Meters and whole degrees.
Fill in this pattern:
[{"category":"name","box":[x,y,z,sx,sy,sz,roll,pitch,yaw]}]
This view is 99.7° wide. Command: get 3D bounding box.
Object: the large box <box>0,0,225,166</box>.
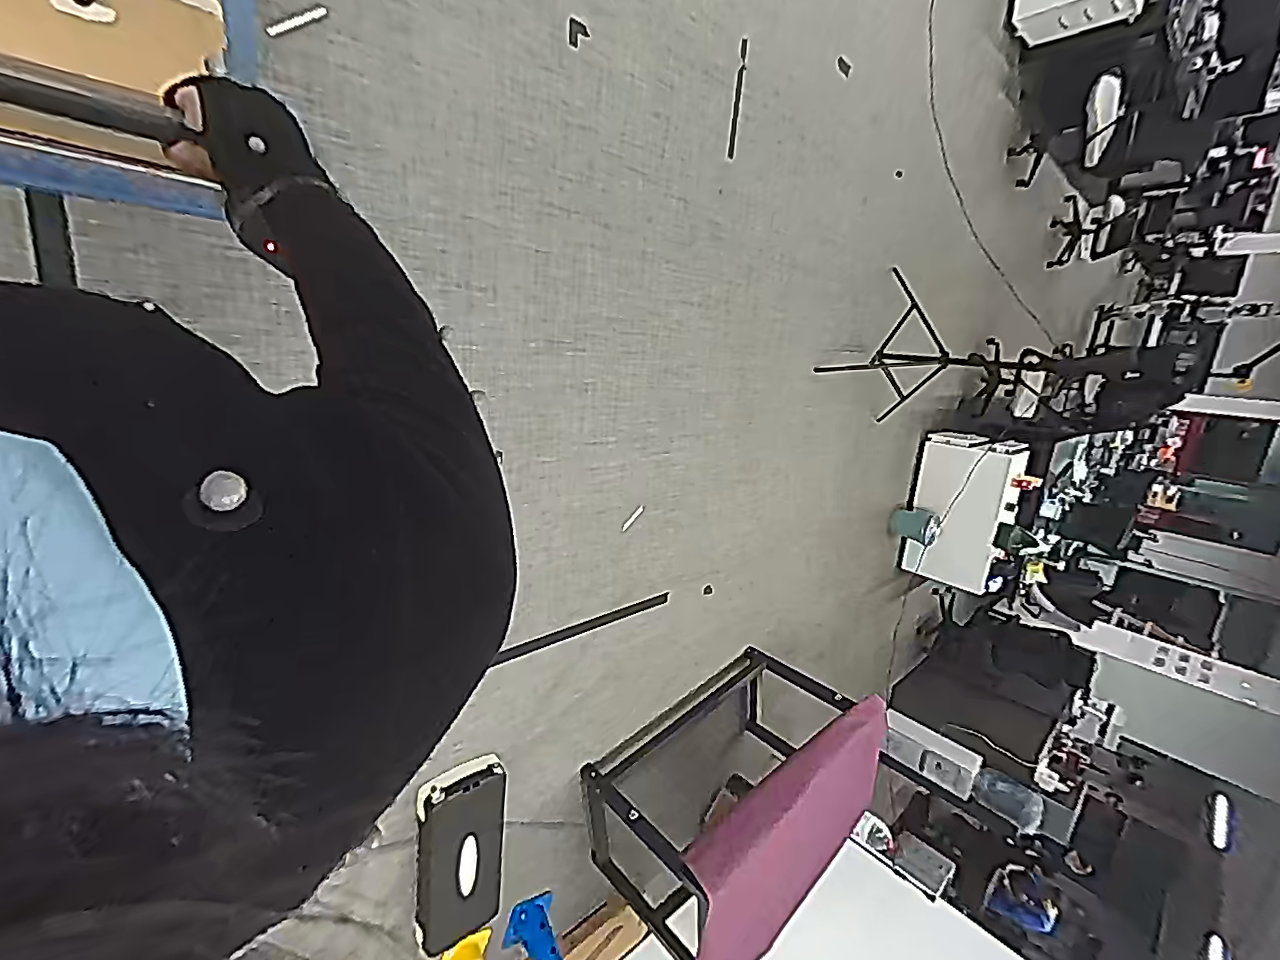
[{"category":"large box","box":[-0.833,-0.661,0.711,0.408,0.320,0.320,-8,109,-43]}]
